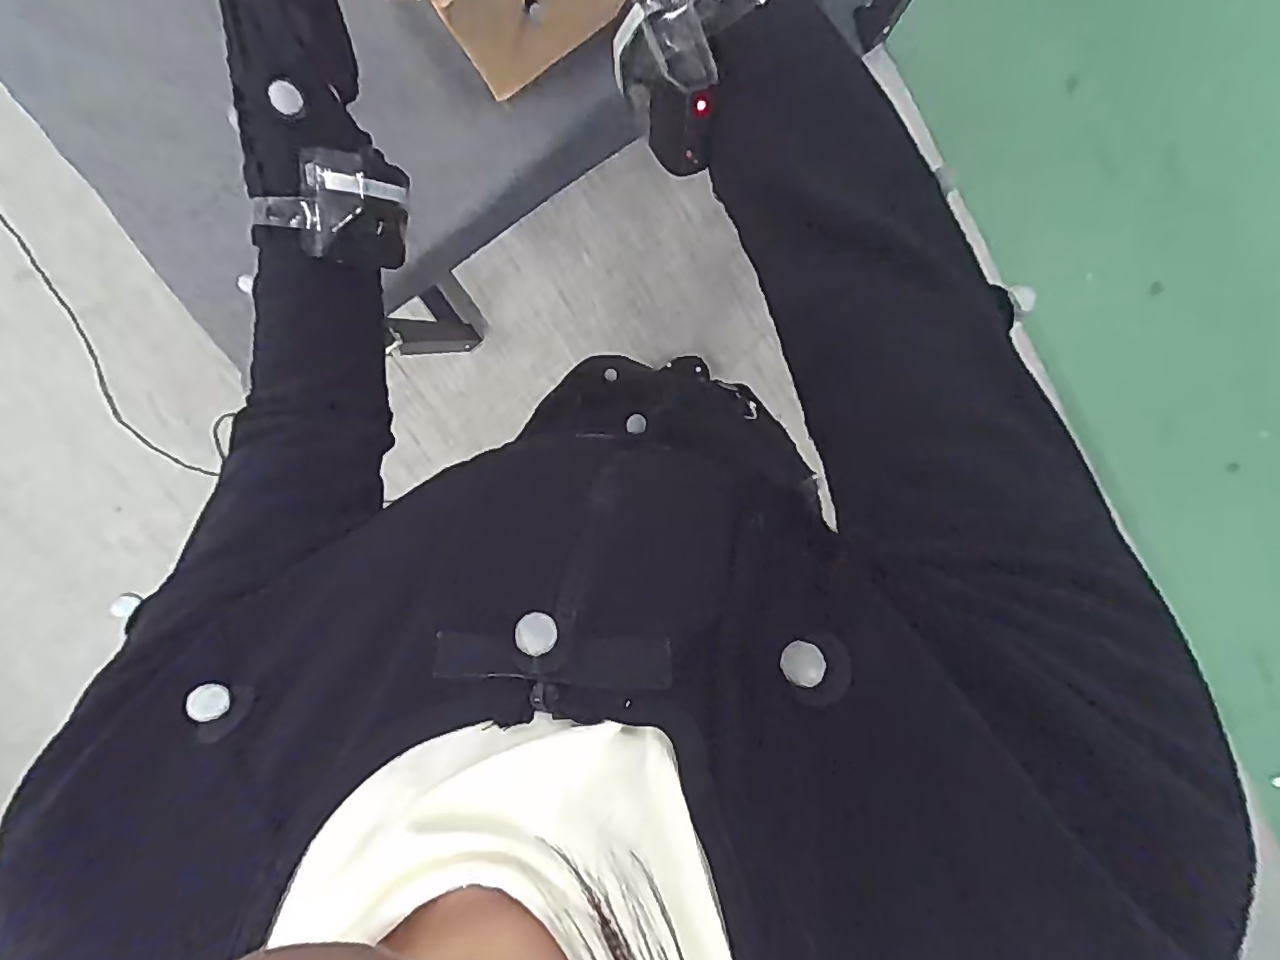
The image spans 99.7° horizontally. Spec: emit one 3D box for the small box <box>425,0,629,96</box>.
[{"bbox_3d":[-0.123,-0.501,0.486,0.179,0.176,0.168,-30,99,12],"label":"small box"}]
